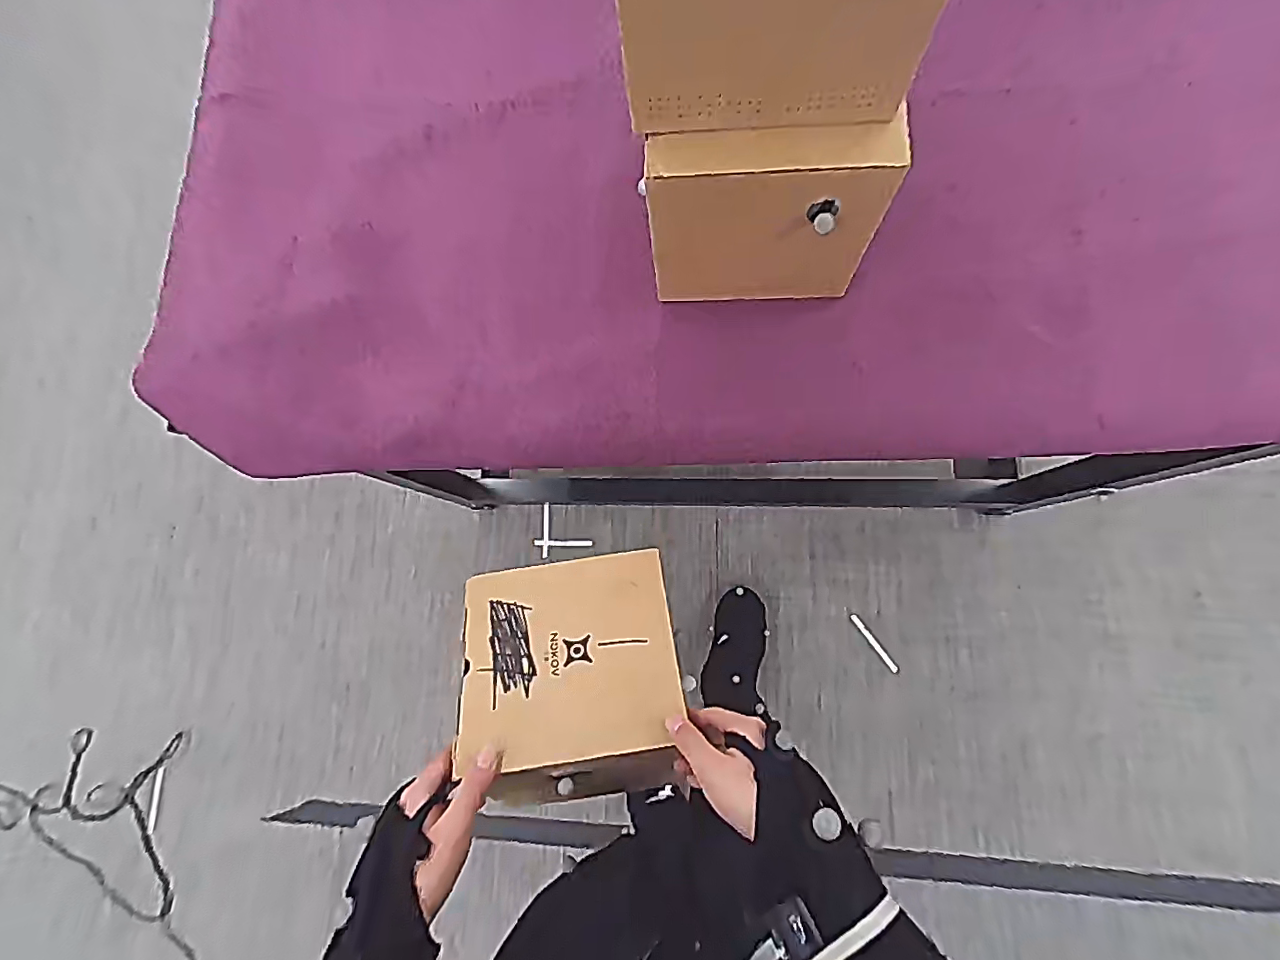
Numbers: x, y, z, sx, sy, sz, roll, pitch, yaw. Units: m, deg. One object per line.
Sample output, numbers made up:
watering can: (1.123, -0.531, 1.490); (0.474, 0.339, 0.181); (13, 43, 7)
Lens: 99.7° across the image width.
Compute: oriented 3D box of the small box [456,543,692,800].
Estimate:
small box: (-0.050, 0.181, 0.499); (0.179, 0.176, 0.168); (-8, 52, -2)

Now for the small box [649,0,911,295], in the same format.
small box: (0.102, -0.272, 0.455); (0.179, 0.176, 0.168); (1, 78, 6)
